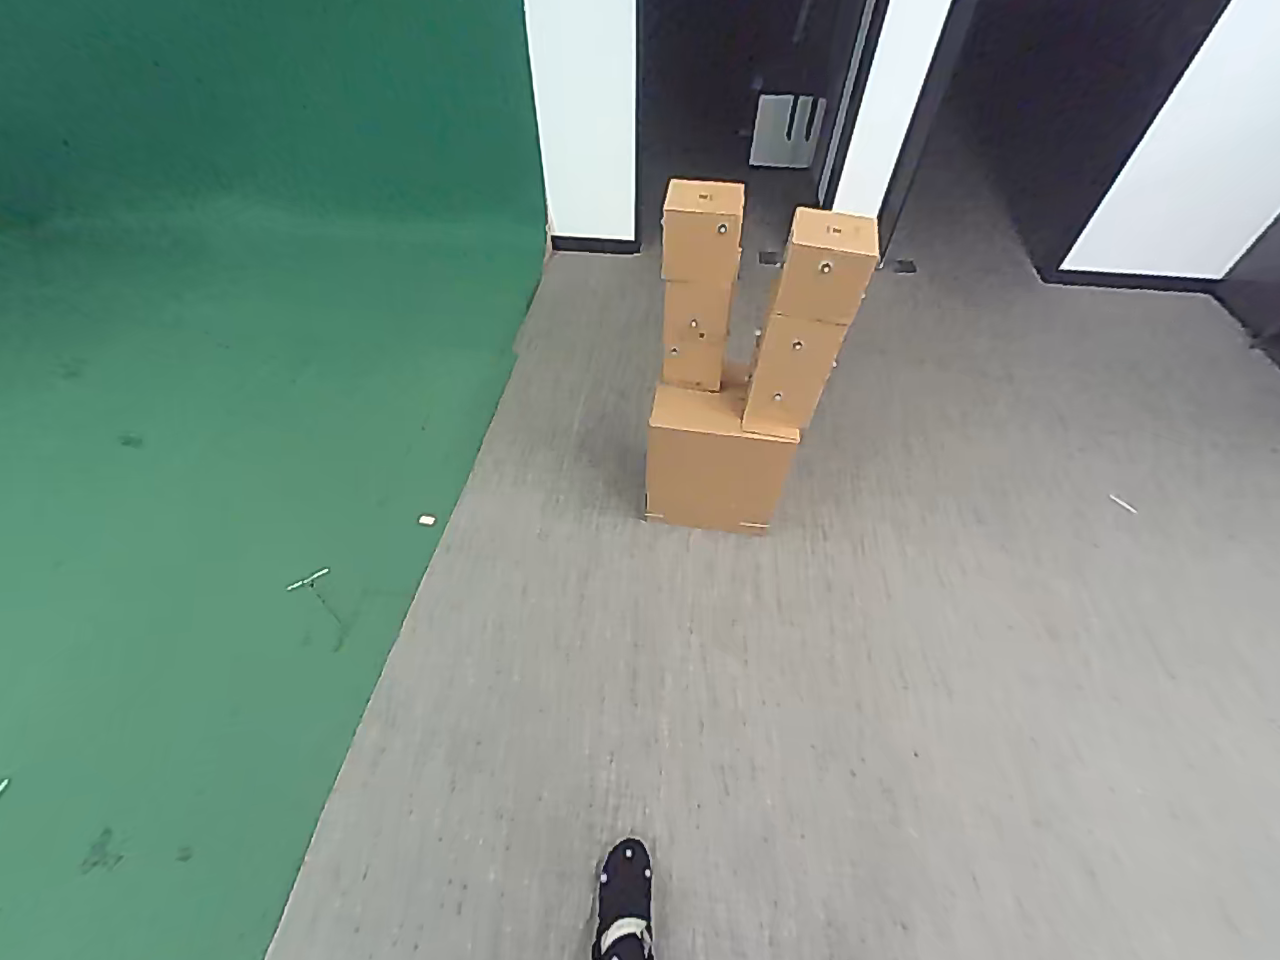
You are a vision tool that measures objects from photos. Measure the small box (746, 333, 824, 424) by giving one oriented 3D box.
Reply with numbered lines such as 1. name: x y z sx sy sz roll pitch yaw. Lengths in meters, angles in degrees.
1. small box: 0.382 -0.268 1.443 0.179 0.176 0.168 8 53 7

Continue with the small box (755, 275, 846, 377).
1. small box: 0.388 -0.371 1.317 0.179 0.176 0.168 9 52 7

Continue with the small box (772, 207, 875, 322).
1. small box: 0.398 -0.470 1.188 0.179 0.176 0.168 13 53 8
